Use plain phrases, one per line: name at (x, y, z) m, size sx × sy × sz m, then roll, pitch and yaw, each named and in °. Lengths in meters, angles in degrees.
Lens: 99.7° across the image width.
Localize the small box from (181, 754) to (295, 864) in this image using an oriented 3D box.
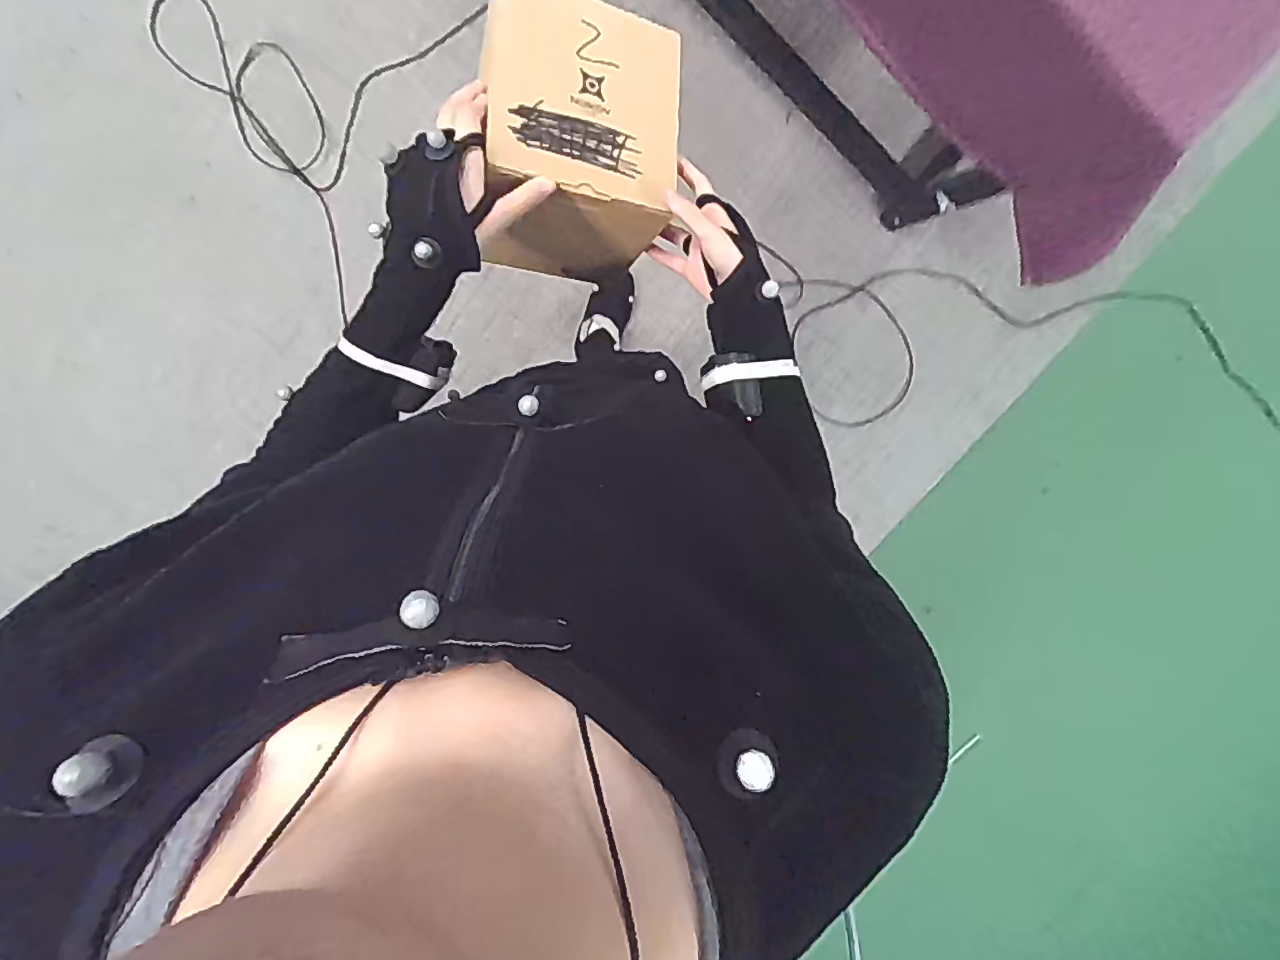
small box at (-1.144, 0.942, 1.557) m, size 0.168 × 0.176 × 0.179 m, roll 39°, pitch 98°, yaw -14°
